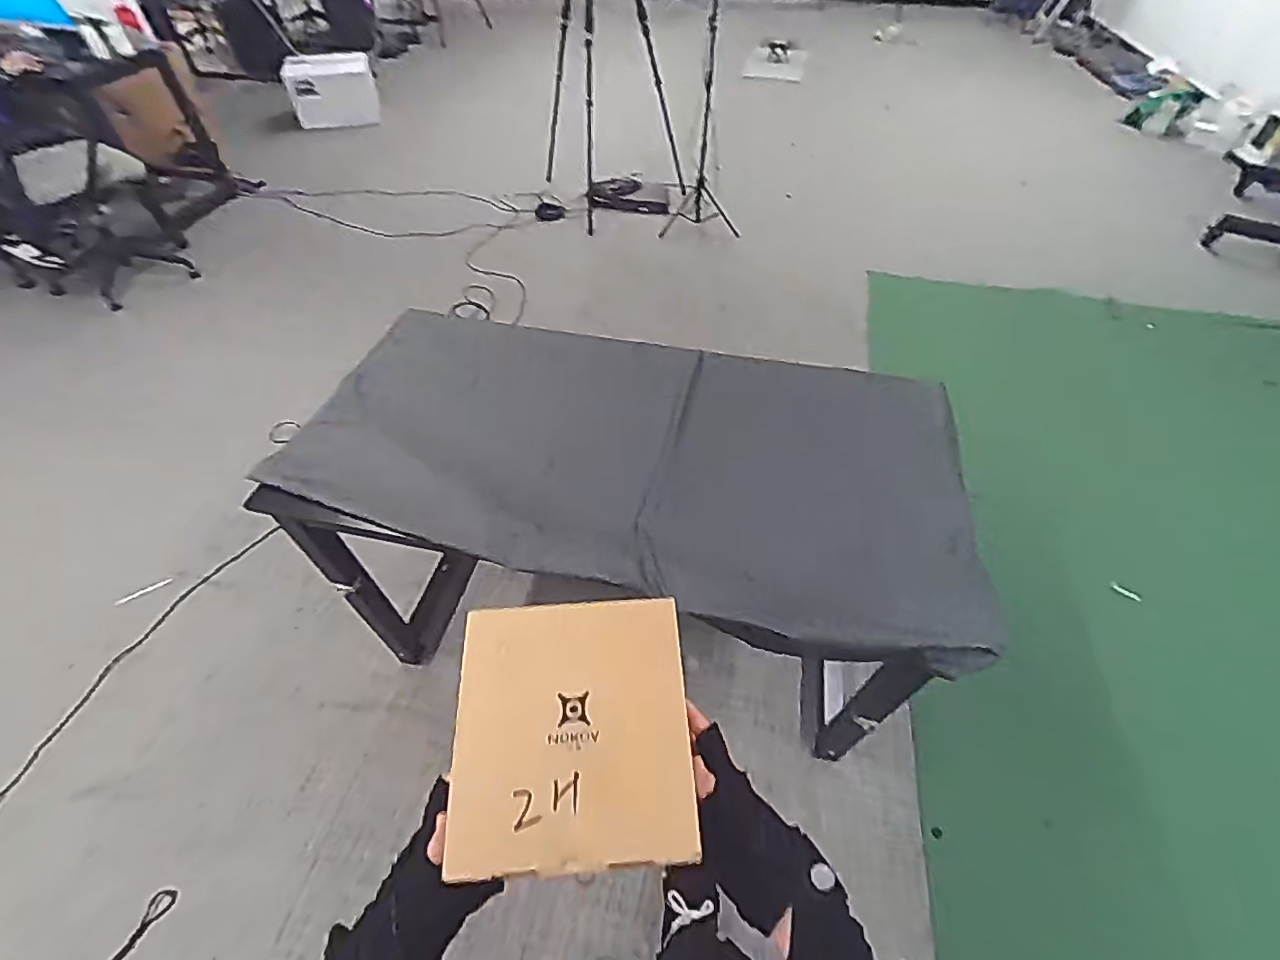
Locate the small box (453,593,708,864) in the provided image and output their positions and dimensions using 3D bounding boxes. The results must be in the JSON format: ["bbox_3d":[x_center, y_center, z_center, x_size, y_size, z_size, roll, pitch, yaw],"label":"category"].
[{"bbox_3d":[-0.043,0.209,0.455,0.168,0.176,0.179,-2,58,-2],"label":"small box"}]
